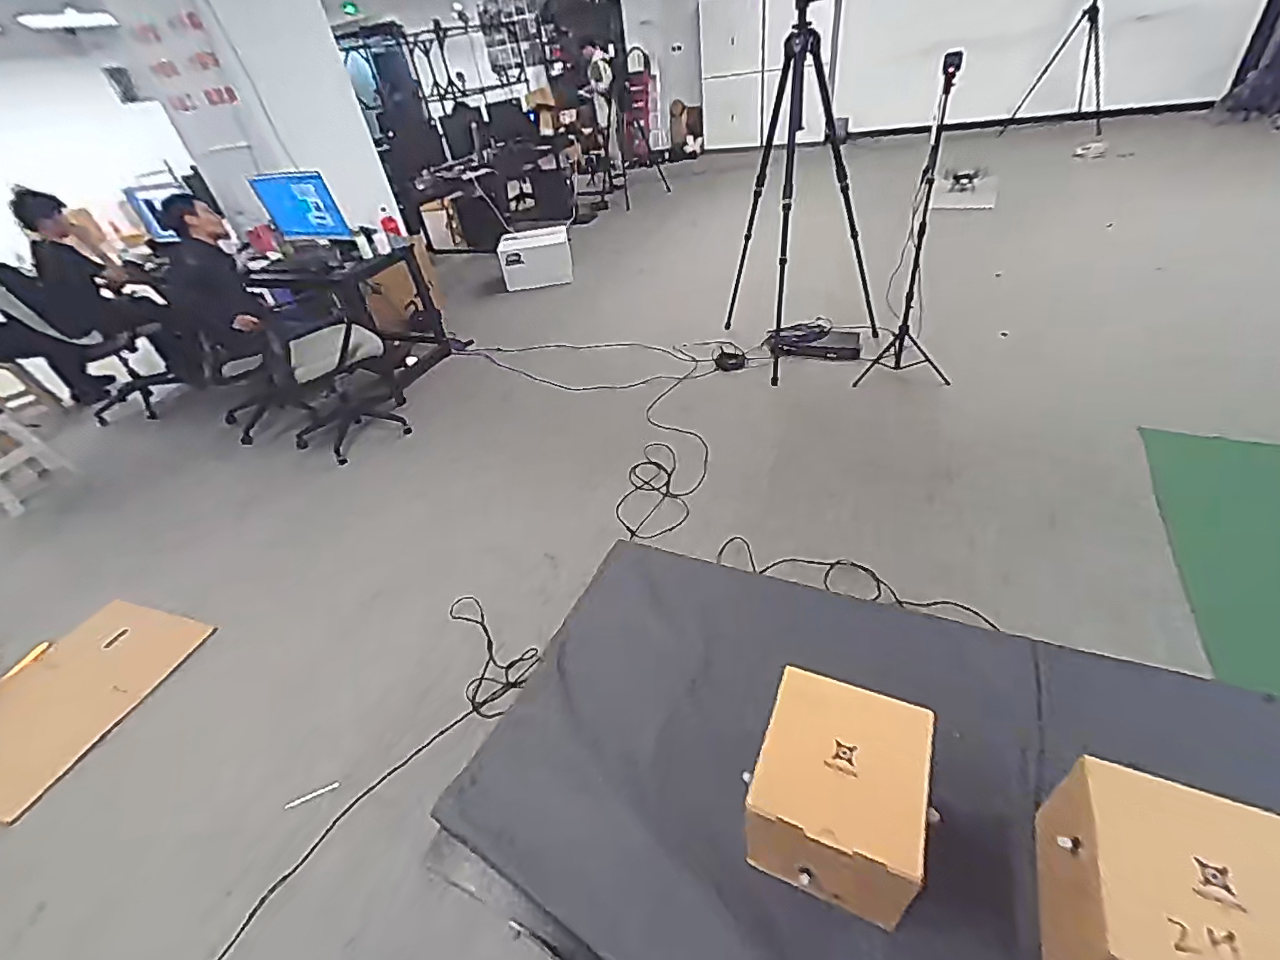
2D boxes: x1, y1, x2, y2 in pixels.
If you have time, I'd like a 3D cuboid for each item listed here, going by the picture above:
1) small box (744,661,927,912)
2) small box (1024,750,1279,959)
[{"bbox_3d":[0.223,0.355,0.637,0.168,0.176,0.179,12,44,23],"label":"small box"},{"bbox_3d":[0.493,0.408,0.521,0.168,0.176,0.179,12,43,24],"label":"small box"}]
